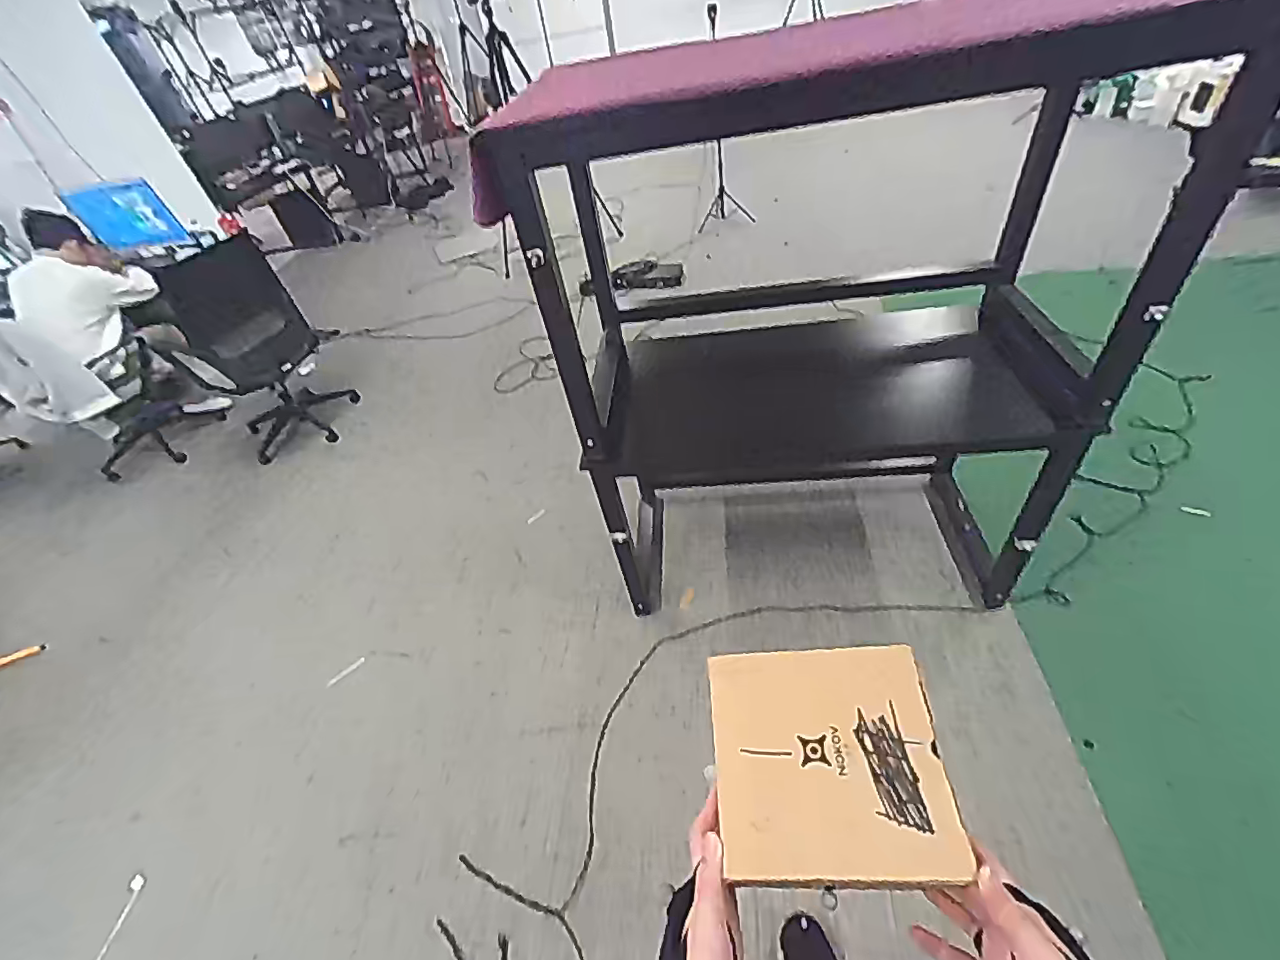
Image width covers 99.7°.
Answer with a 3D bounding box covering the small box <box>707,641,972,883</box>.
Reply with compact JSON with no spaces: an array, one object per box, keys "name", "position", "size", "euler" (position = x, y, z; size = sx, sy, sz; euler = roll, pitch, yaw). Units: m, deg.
[{"name":"small box","position":[0.158,0.259,0.490],"size":[0.179,0.176,0.168],"euler":[-7,51,9]}]
